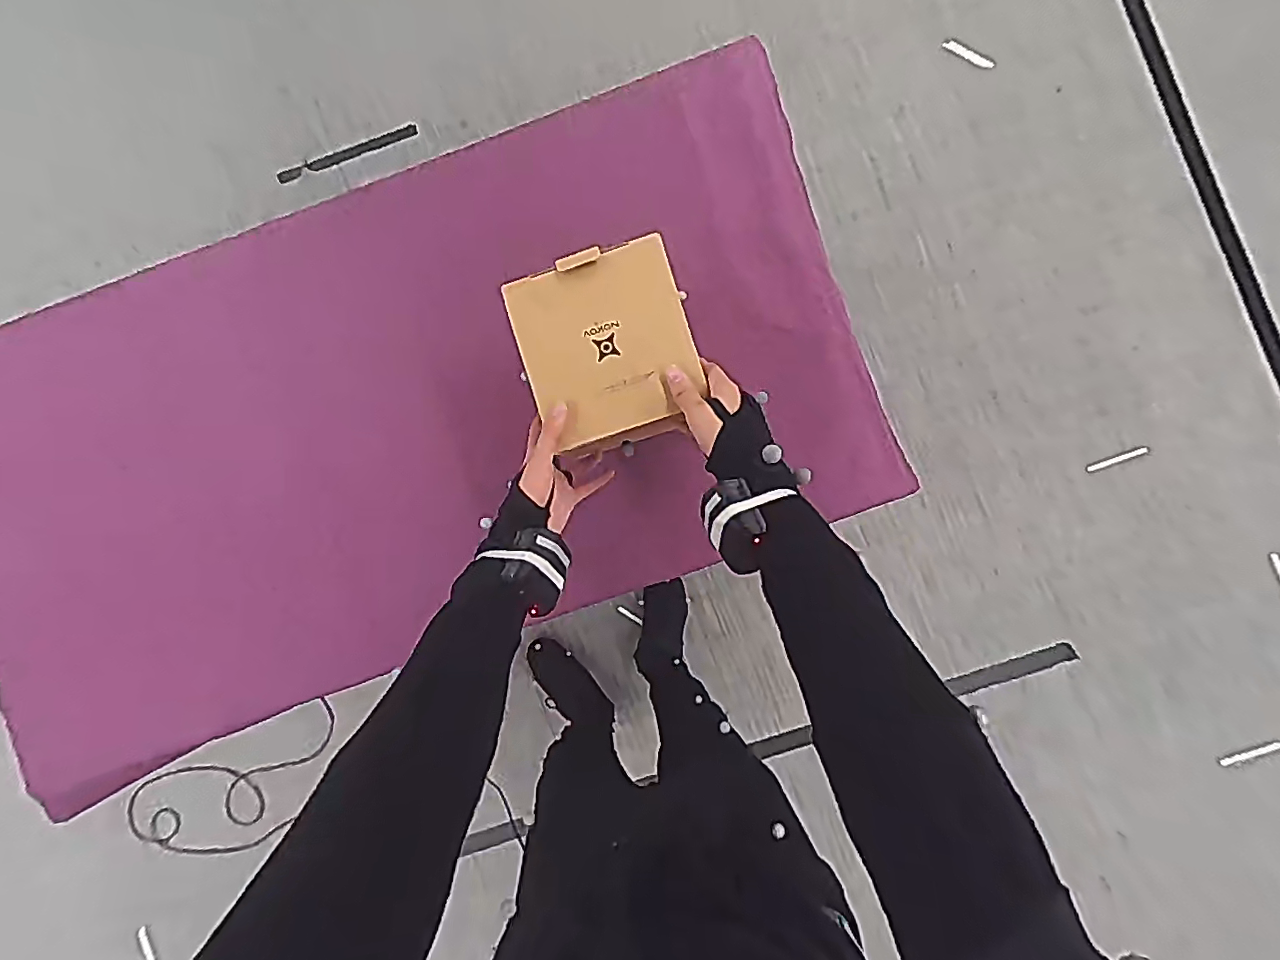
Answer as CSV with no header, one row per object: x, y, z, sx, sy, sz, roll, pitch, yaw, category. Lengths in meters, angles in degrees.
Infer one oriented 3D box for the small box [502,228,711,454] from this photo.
-0.029,-0.135,0.594,0.168,0.176,0.179,-17,90,4,small box
